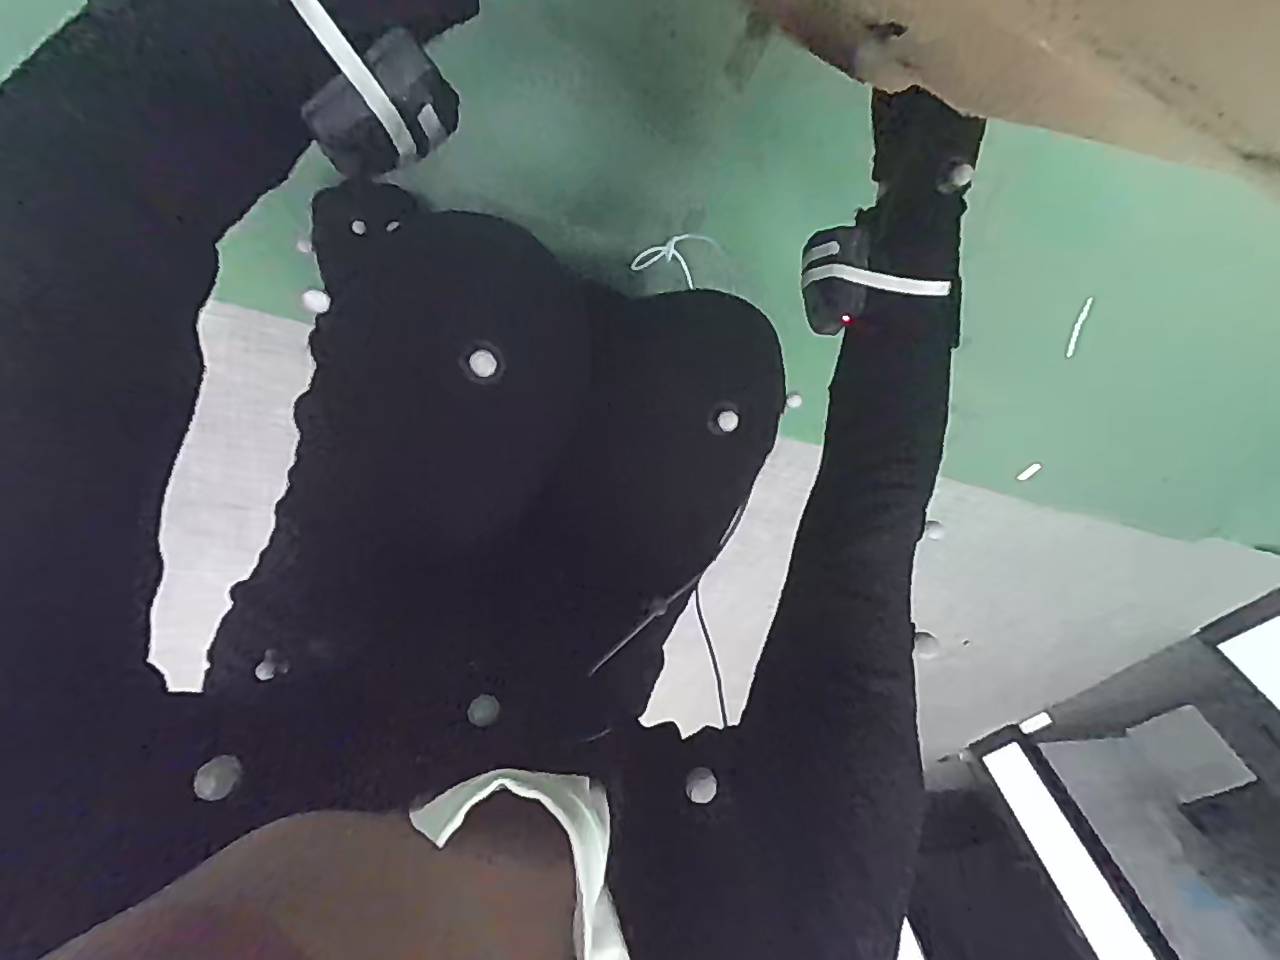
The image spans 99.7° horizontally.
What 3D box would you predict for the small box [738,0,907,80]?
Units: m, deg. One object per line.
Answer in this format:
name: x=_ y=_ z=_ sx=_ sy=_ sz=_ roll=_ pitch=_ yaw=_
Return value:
small box: x=0.116 y=-0.332 z=0.259 sx=0.168 sy=0.176 sz=0.179 roll=12 pitch=129 yaw=-22
